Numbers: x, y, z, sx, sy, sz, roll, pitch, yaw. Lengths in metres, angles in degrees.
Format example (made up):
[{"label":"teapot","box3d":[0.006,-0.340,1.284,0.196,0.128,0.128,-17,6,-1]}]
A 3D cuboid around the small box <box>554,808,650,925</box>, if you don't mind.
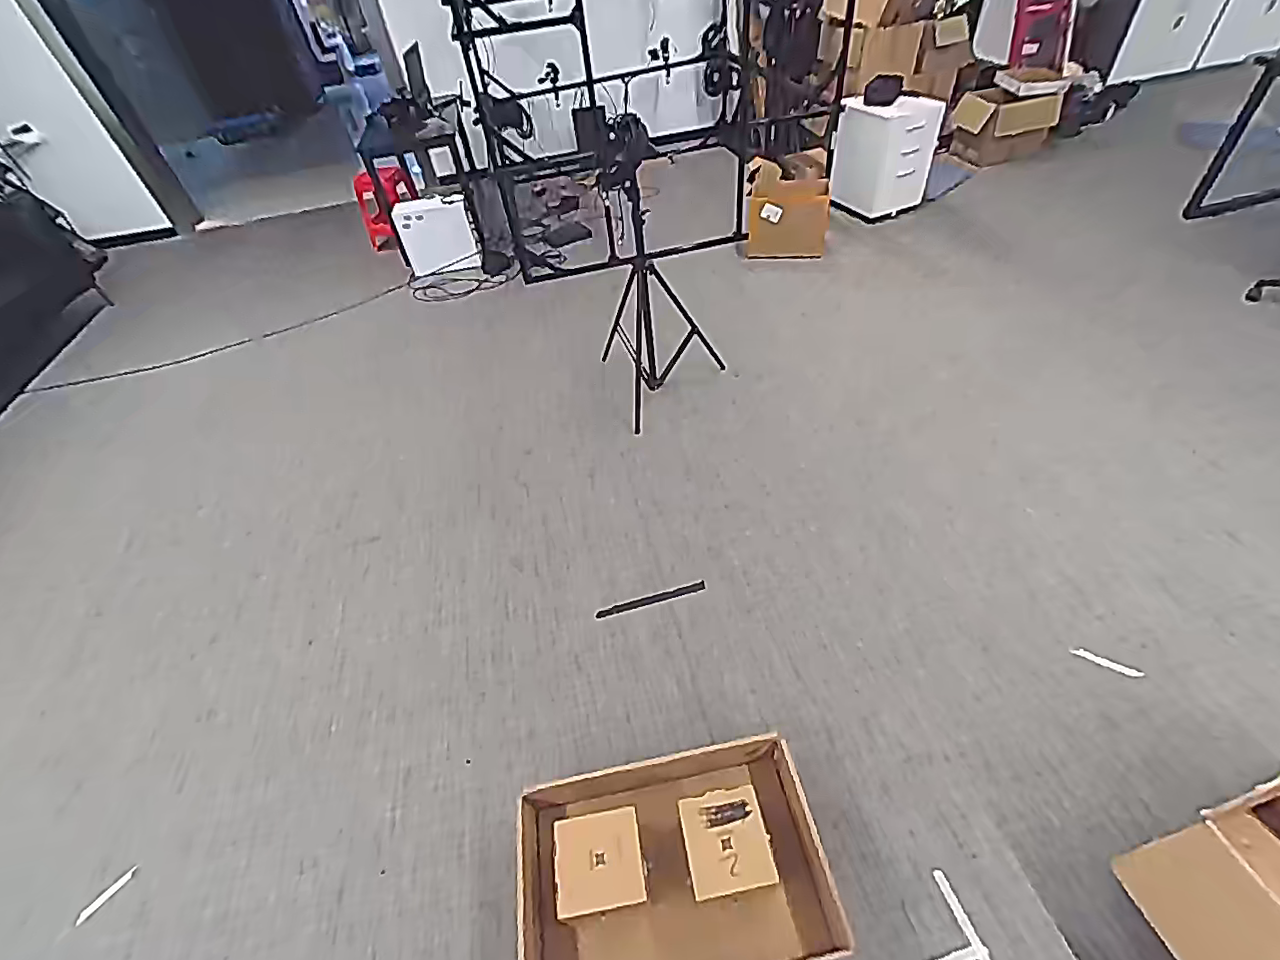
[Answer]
[{"label":"small box","box3d":[-0.079,0.826,1.152,0.179,0.176,0.168,-9,48,-4]}]
